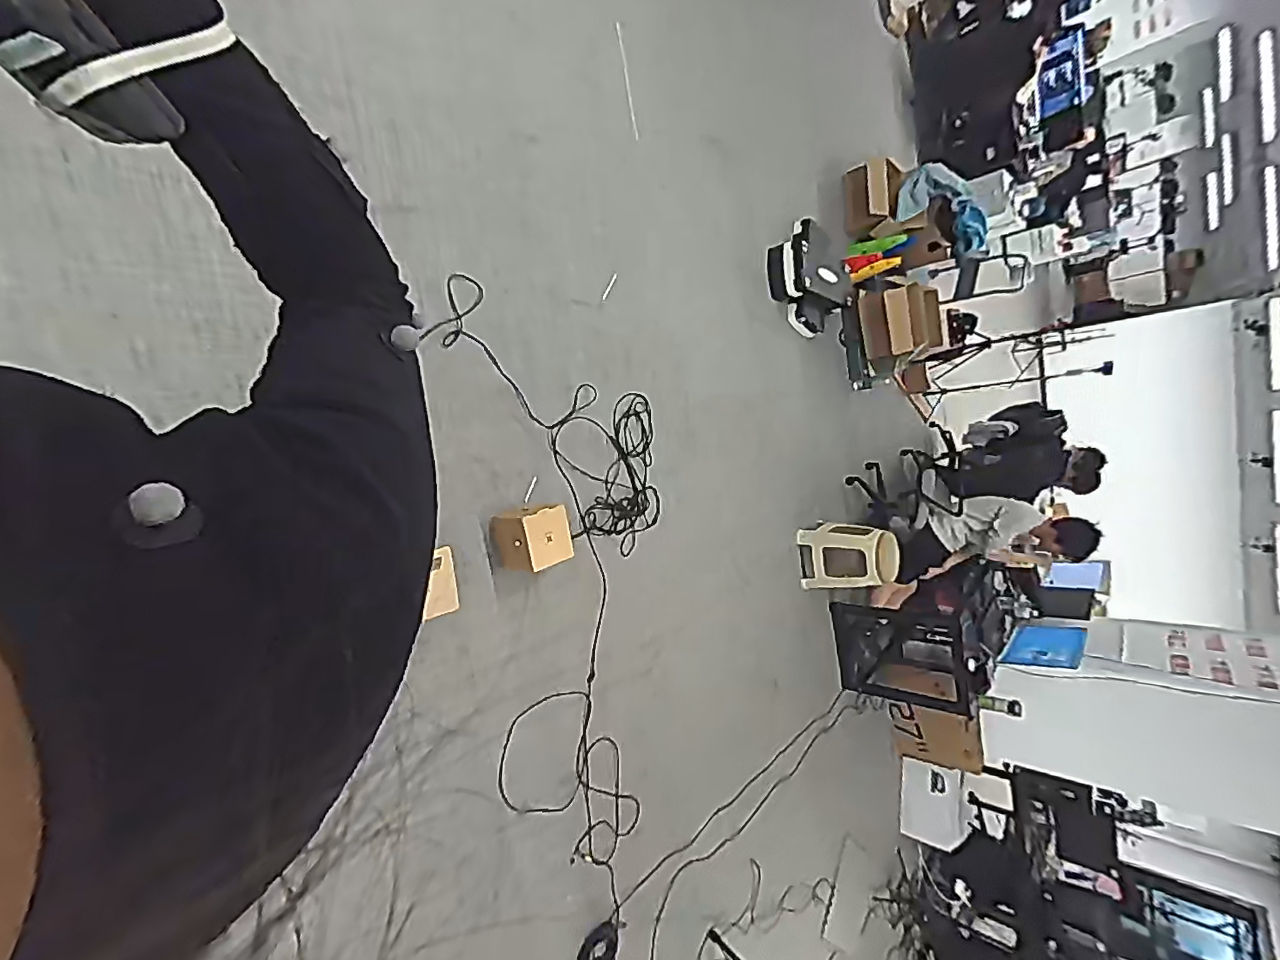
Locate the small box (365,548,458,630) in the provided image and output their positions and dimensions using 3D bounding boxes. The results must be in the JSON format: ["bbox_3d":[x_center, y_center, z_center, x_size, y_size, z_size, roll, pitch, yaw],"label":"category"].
[{"bbox_3d":[-0.611,0.281,1.436,0.168,0.176,0.179,-11,95,-47],"label":"small box"}]

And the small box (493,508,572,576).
[{"bbox_3d":[-0.344,0.191,1.725,0.168,0.176,0.179,-18,100,-46],"label":"small box"}]
